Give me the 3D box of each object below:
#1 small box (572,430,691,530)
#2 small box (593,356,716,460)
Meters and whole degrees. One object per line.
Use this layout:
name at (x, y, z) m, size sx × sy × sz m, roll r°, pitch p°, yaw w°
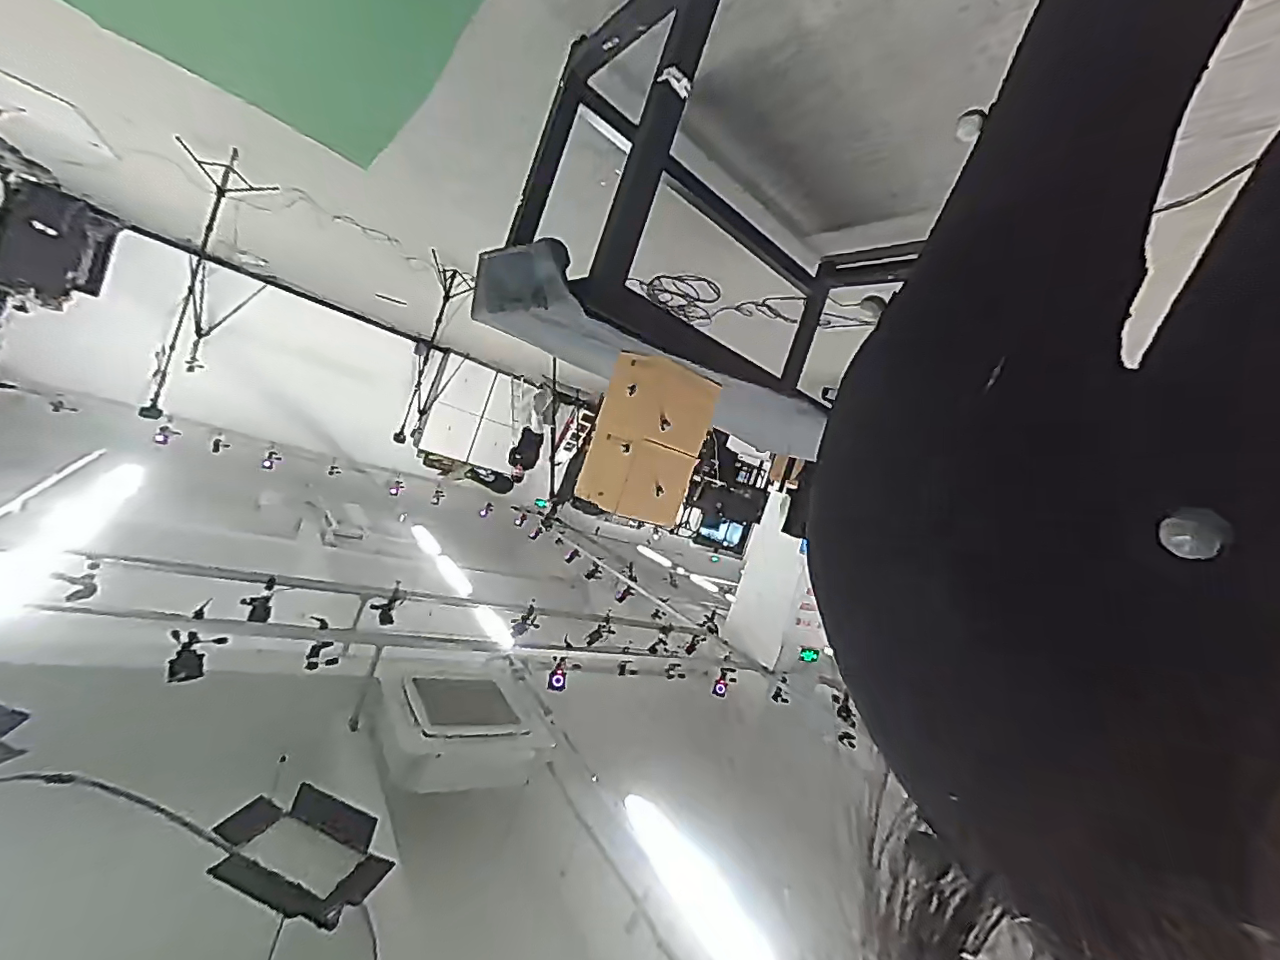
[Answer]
small box at (-0.018, -0.003, 1.193) m, size 0.179 × 0.176 × 0.168 m, roll 16°, pitch -176°, yaw -41°
small box at (0.033, -0.159, 1.169) m, size 0.179 × 0.176 × 0.168 m, roll 16°, pitch -176°, yaw -43°
